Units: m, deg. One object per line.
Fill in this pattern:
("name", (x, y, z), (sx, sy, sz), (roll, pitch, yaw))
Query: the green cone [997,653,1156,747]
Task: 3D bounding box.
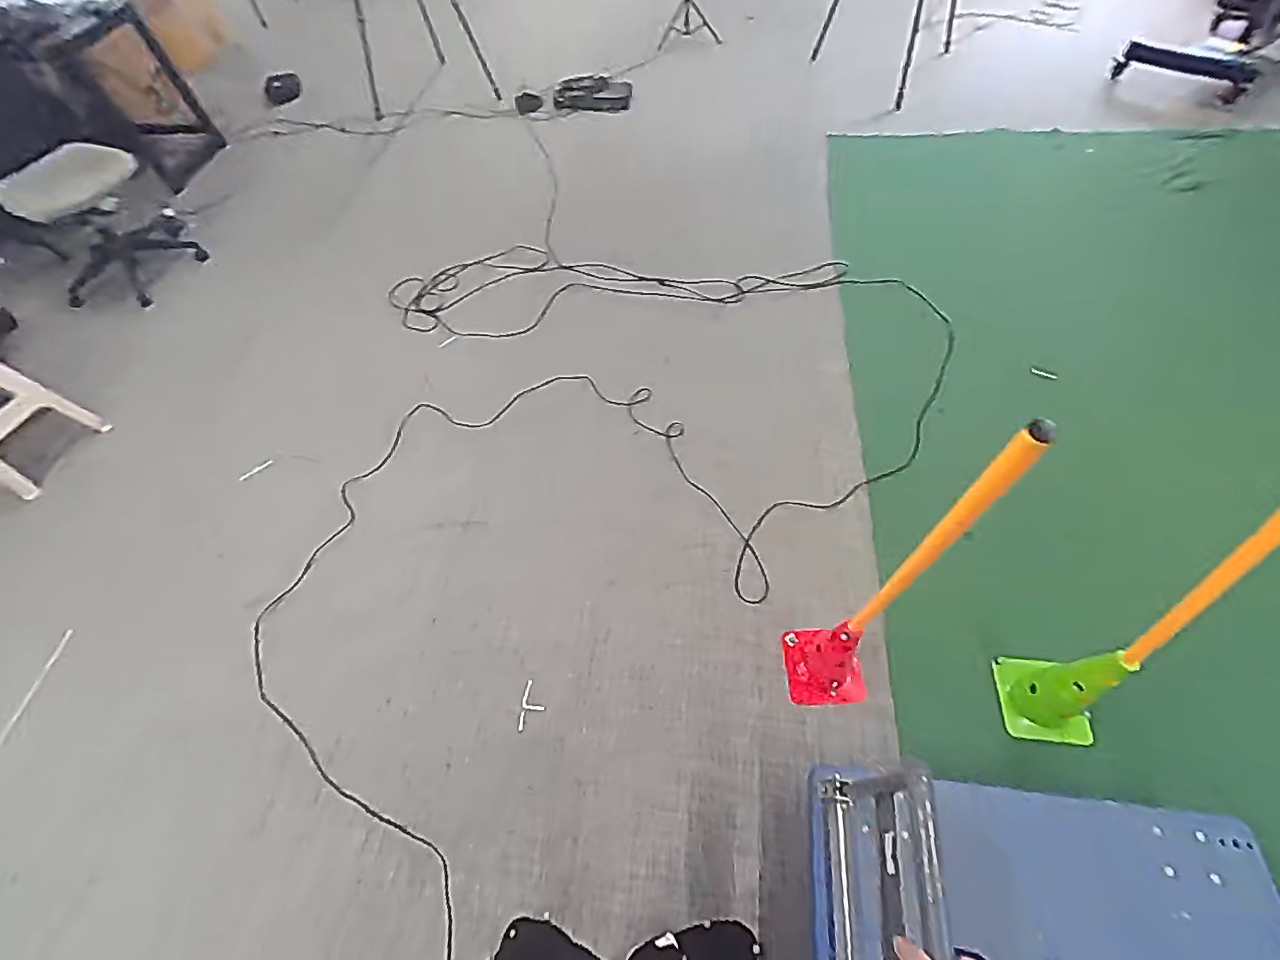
("green cone", (1.025, 0.471, 1.239), (0.202, 0.368, 0.200), (4, 57, 7))
